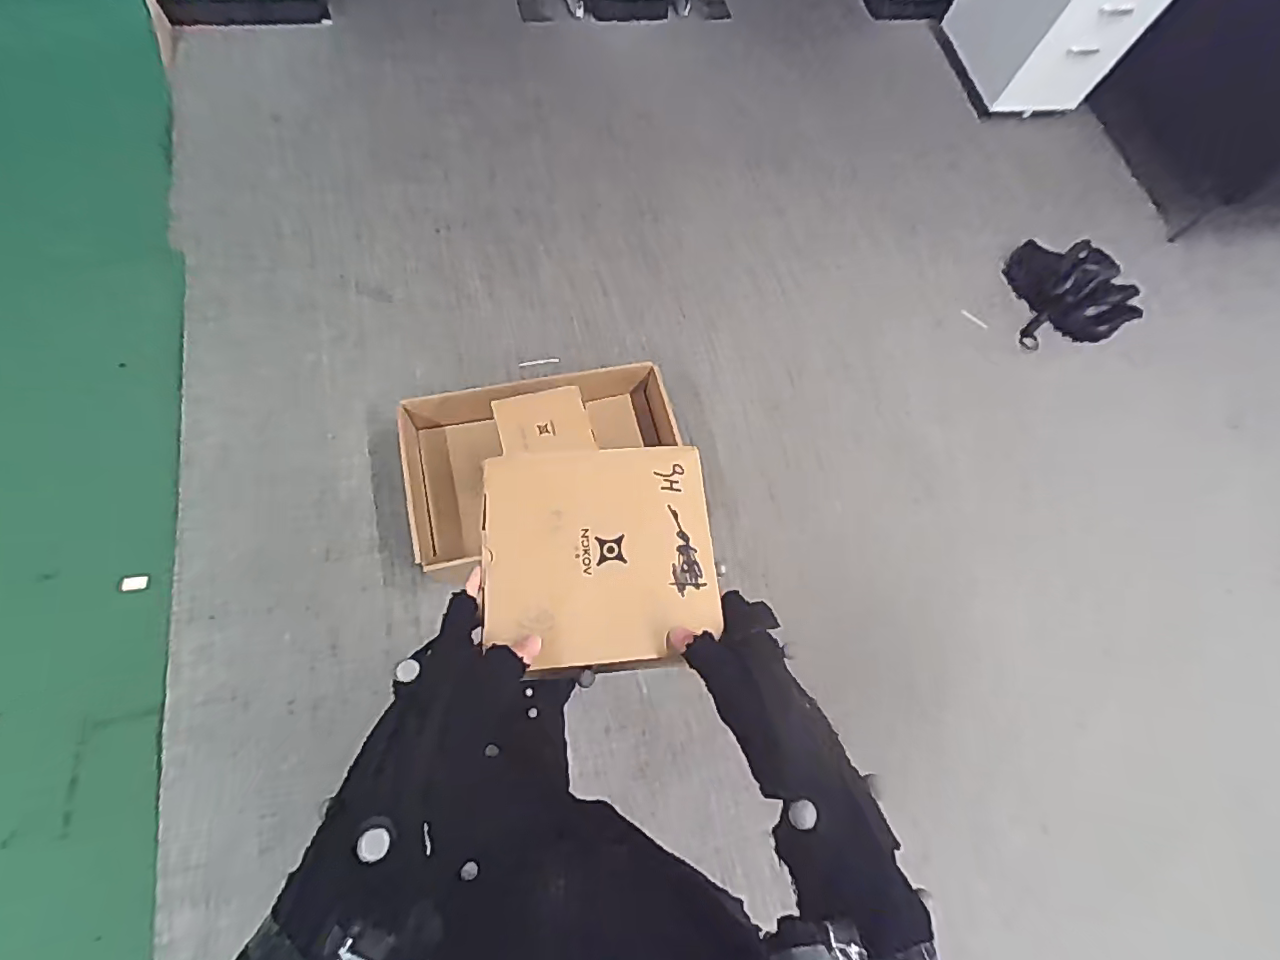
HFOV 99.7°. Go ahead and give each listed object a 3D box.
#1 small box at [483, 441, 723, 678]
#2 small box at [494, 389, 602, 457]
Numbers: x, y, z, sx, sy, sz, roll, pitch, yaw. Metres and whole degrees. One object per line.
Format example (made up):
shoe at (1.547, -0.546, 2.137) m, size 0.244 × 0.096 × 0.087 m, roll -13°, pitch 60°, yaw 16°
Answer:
small box at (-0.038, 0.081, 0.496) m, size 0.179 × 0.176 × 0.168 m, roll -6°, pitch 67°, yaw -8°
small box at (-0.184, -0.058, 1.098) m, size 0.179 × 0.176 × 0.168 m, roll -18°, pitch 72°, yaw -16°
